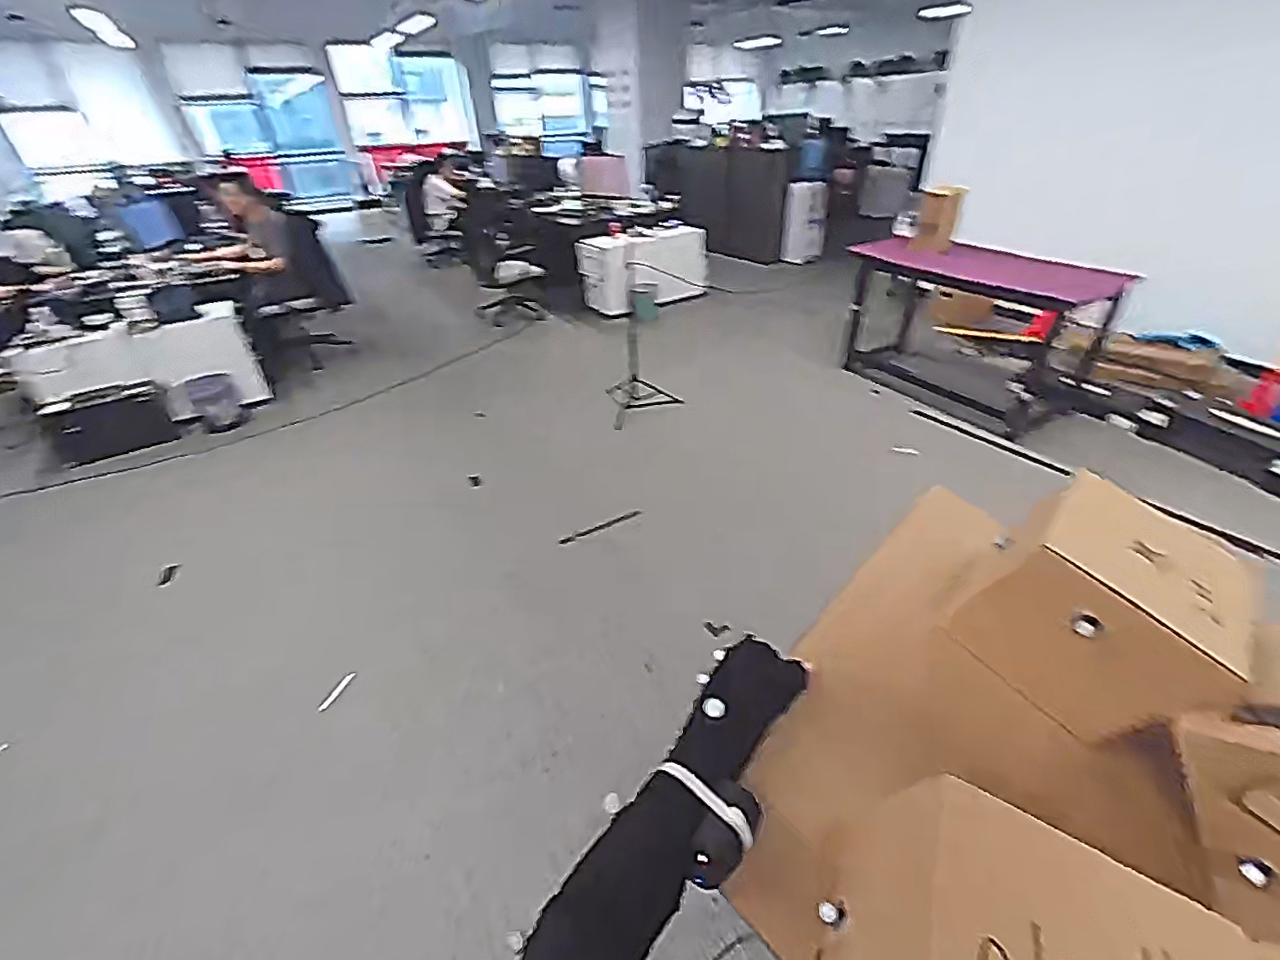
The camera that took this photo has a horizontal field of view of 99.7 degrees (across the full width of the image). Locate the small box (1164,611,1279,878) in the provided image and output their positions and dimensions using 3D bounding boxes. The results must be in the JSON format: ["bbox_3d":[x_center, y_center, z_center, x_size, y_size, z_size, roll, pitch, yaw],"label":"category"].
[{"bbox_3d":[0.602,0.242,0.474,0.179,0.176,0.168,-31,14,-34],"label":"small box"}]
